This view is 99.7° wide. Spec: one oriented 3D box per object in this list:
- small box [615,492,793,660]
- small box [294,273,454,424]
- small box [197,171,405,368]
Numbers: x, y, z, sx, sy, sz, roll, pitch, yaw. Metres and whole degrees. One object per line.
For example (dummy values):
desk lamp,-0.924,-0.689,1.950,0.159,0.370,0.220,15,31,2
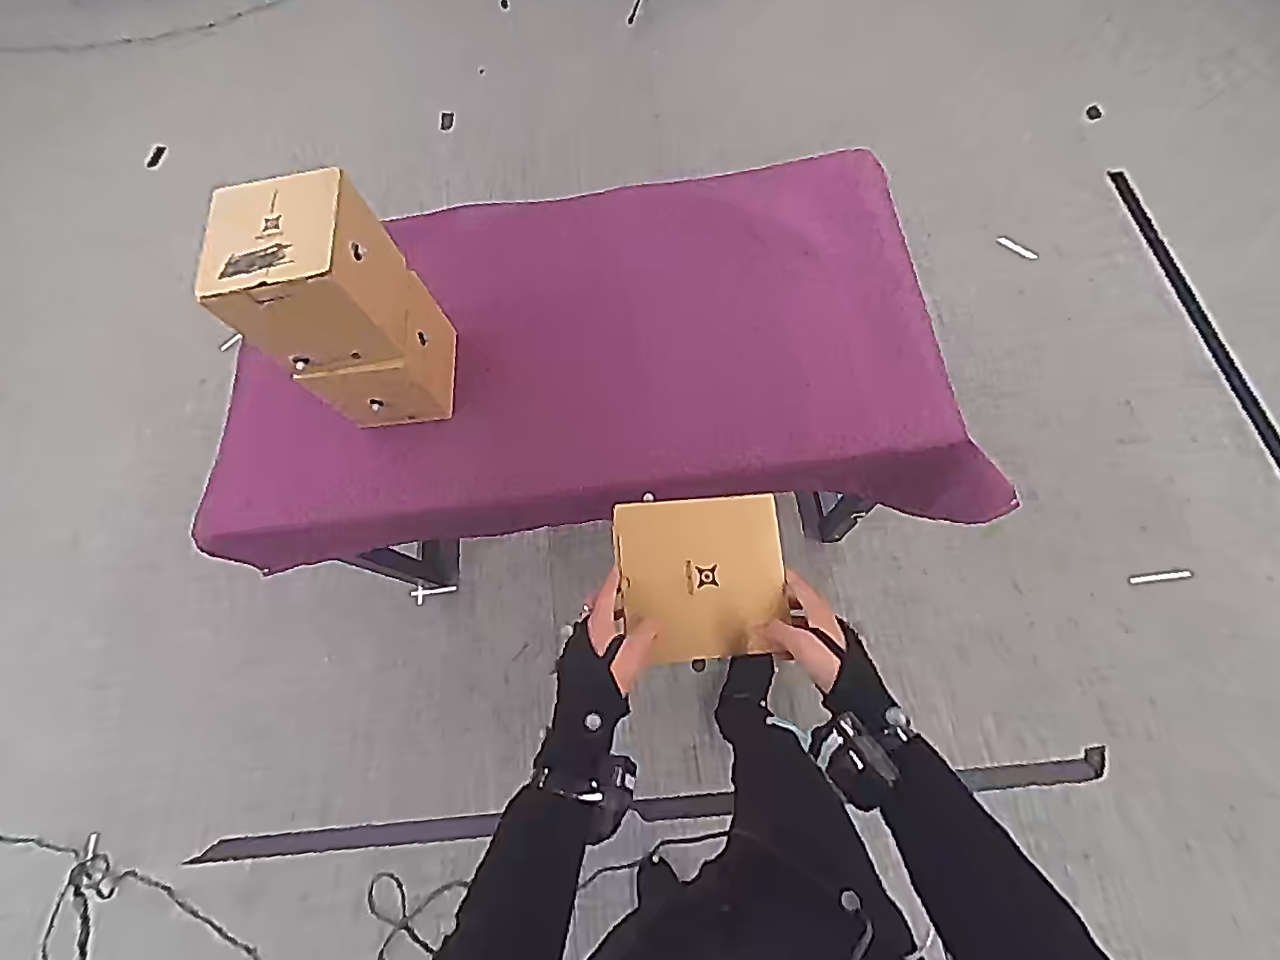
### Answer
small box,0.062,0.112,0.645,0.179,0.176,0.168,-5,79,-3
small box,-0.412,-0.200,0.870,0.168,0.176,0.179,-5,70,3
small box,-0.432,-0.265,0.720,0.168,0.176,0.179,-9,69,2
